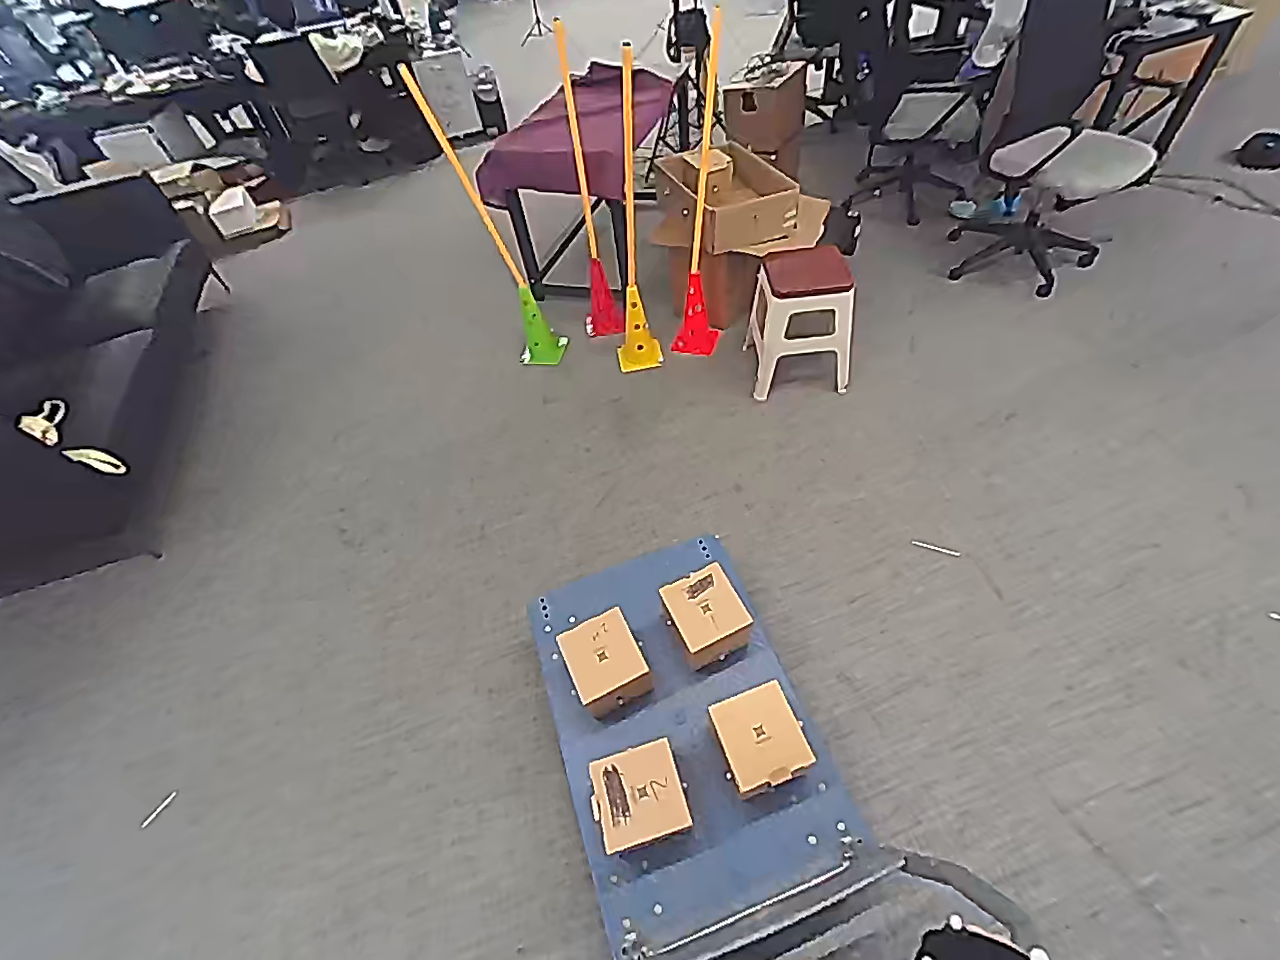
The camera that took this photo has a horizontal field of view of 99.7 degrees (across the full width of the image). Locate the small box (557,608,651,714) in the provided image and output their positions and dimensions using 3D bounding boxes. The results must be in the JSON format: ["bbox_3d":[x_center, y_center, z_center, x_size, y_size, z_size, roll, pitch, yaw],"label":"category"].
[{"bbox_3d":[-0.082,0.444,1.306,0.168,0.176,0.179,-24,57,-11],"label":"small box"}]

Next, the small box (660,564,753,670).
[{"bbox_3d":[0.161,0.344,1.349,0.168,0.176,0.179,-23,58,-9],"label":"small box"}]

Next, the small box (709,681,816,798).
[{"bbox_3d":[0.256,0.574,1.188,0.168,0.176,0.179,-19,57,-7],"label":"small box"}]
